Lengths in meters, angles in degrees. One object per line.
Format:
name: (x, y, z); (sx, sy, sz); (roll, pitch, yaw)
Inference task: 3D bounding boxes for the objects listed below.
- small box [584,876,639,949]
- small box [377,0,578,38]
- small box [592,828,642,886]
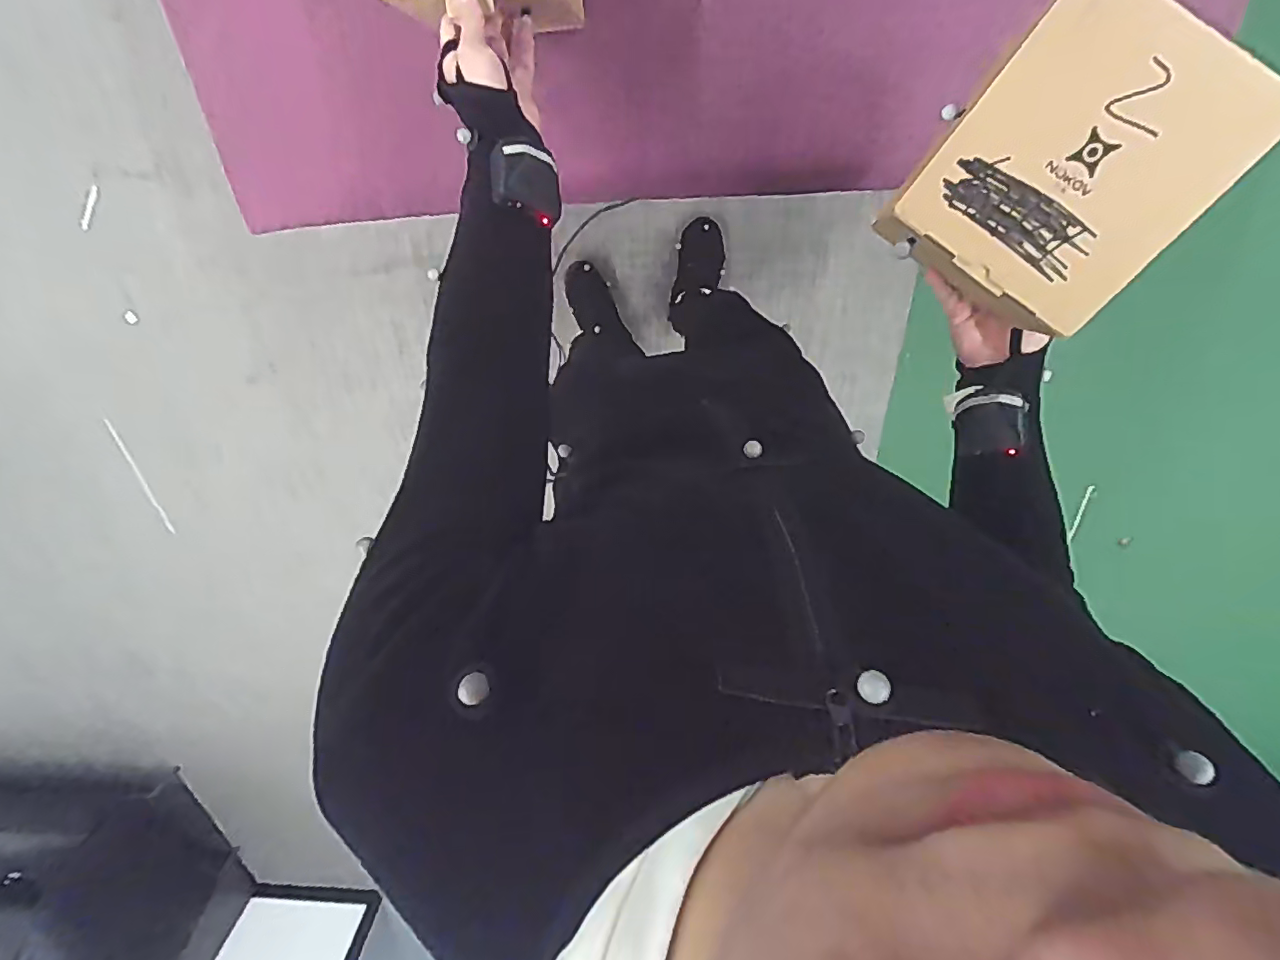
small box: (-0.091, 1.479, 1.820); (0.168, 0.176, 0.179); (2, 117, 4)
small box: (-0.158, -0.550, 0.517); (0.168, 0.176, 0.179); (0, 117, 5)
small box: (-0.080, 1.406, 1.964); (0.168, 0.176, 0.179); (2, 118, 3)
